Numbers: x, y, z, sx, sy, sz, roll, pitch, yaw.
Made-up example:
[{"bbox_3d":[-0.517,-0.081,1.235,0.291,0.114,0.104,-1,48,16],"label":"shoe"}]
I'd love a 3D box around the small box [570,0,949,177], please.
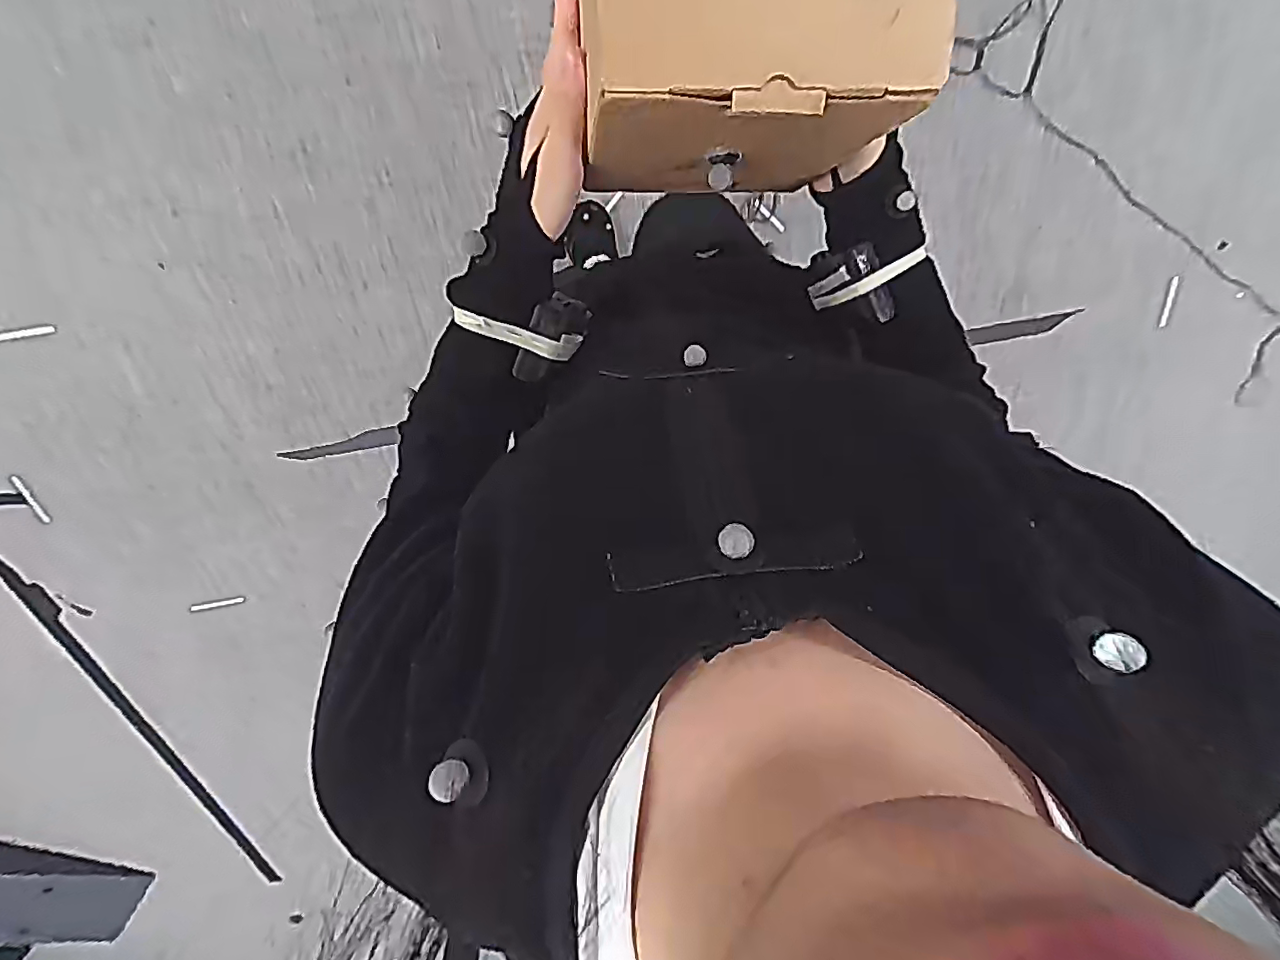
[{"bbox_3d":[0.048,-0.282,0.300,0.168,0.176,0.179,-5,107,-8],"label":"small box"}]
